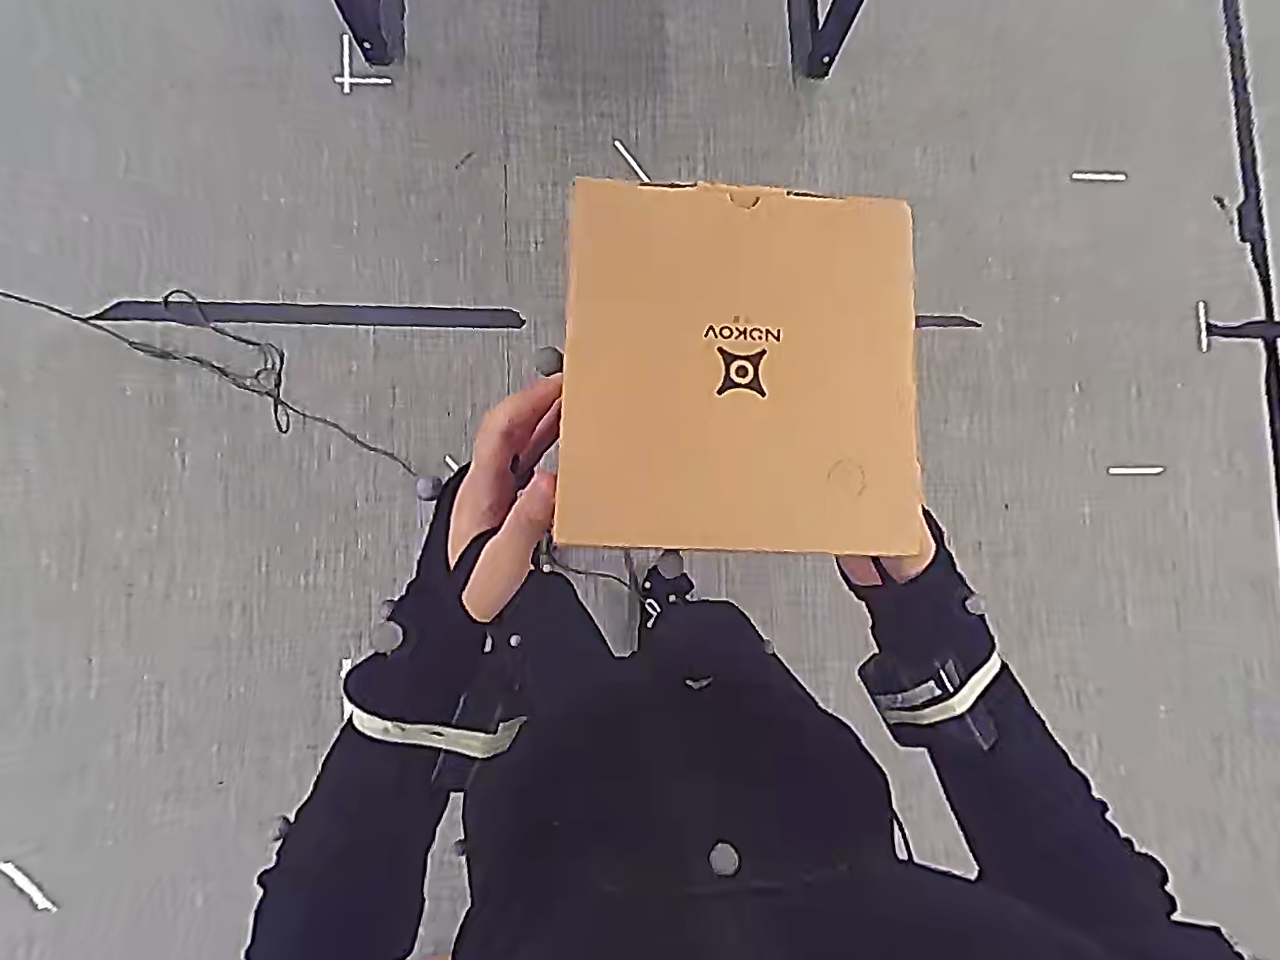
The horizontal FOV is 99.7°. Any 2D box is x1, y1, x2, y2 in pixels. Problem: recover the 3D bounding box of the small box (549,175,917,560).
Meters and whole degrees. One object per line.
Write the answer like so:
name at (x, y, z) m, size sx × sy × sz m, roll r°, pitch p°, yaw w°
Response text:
small box at (0.042, -0.044, 0.327) m, size 0.168 × 0.176 × 0.179 m, roll 3°, pitch 81°, yaw -3°
